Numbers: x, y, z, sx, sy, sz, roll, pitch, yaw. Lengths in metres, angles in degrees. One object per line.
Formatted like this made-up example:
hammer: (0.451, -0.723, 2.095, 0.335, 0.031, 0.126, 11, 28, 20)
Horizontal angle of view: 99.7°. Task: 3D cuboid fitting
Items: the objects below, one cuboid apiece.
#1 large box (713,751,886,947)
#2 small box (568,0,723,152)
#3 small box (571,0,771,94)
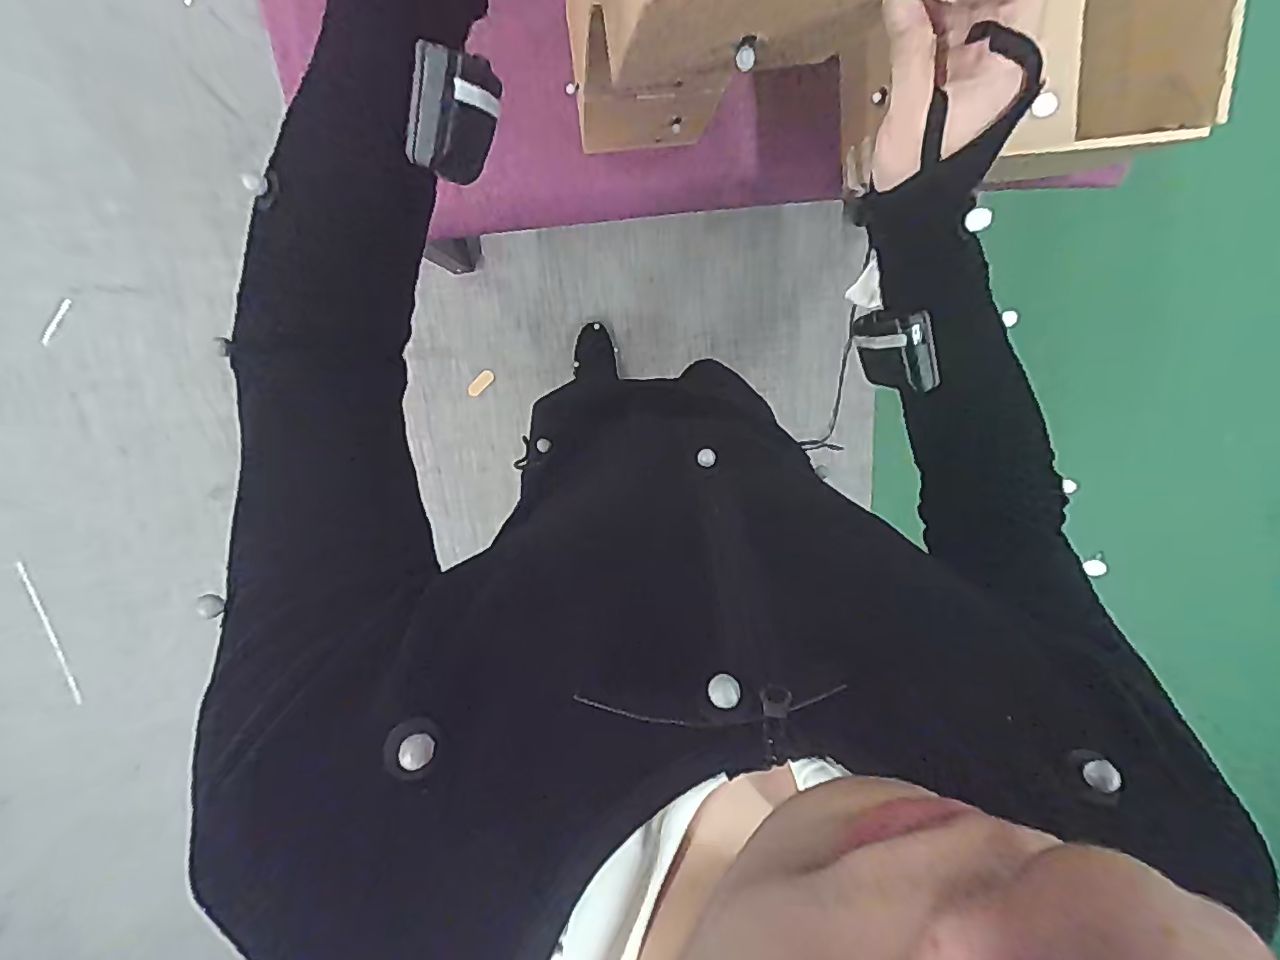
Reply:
large box: (0.520, 1.231, 1.831, 0.408, 0.320, 0.320, -39, 105, 3)
small box: (0.000, -0.531, 0.676, 0.168, 0.176, 0.179, -7, 103, -5)
small box: (0.017, -0.499, 0.516, 0.168, 0.176, 0.179, -8, 104, -5)
